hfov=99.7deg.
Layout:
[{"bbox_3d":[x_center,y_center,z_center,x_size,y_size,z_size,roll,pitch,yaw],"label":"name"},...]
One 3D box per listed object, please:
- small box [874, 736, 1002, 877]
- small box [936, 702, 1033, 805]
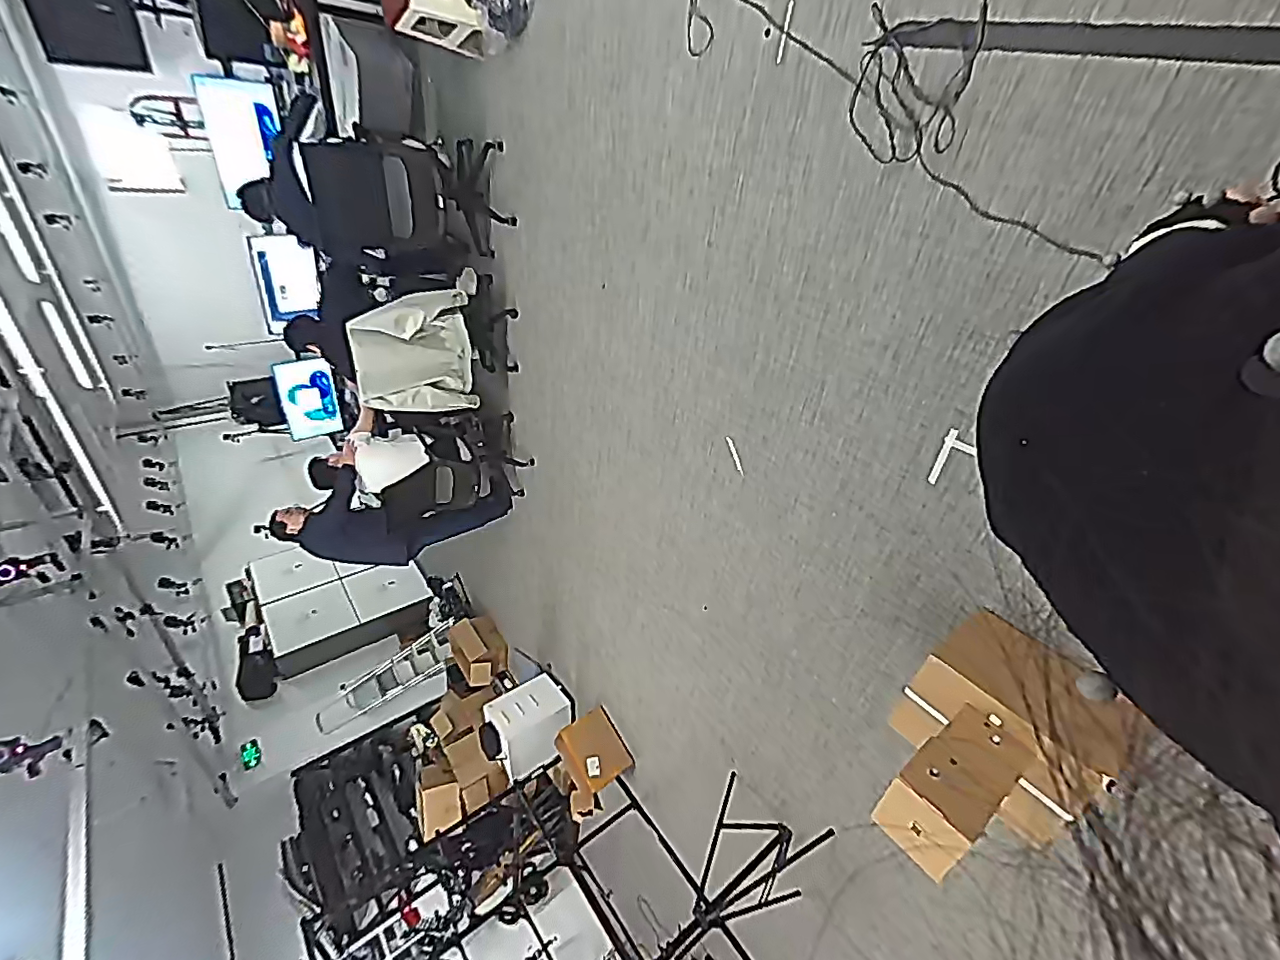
[{"bbox_3d":[0.658,0.708,1.189,0.168,0.176,0.179,38,135,40],"label":"small box"},{"bbox_3d":[0.787,0.670,1.281,0.168,0.176,0.179,38,134,38],"label":"small box"}]
